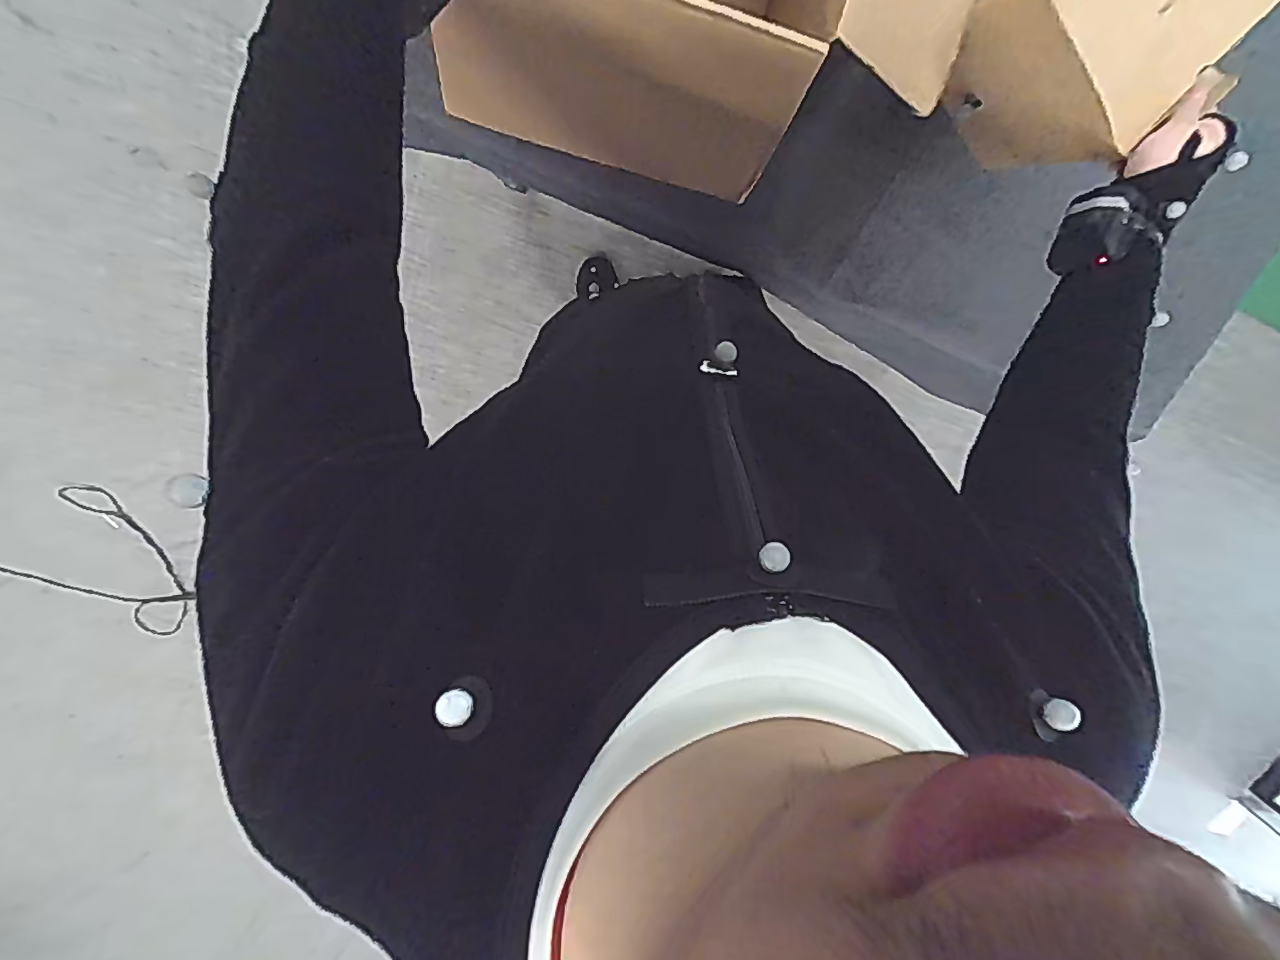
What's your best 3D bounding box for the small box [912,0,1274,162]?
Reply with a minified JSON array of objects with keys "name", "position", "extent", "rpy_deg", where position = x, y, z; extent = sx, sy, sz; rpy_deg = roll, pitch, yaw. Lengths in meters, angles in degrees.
[{"name":"small box","position":[0.401,-0.431,0.501],"extent":[0.179,0.176,0.168],"rpy_deg":[37,107,-26]}]
